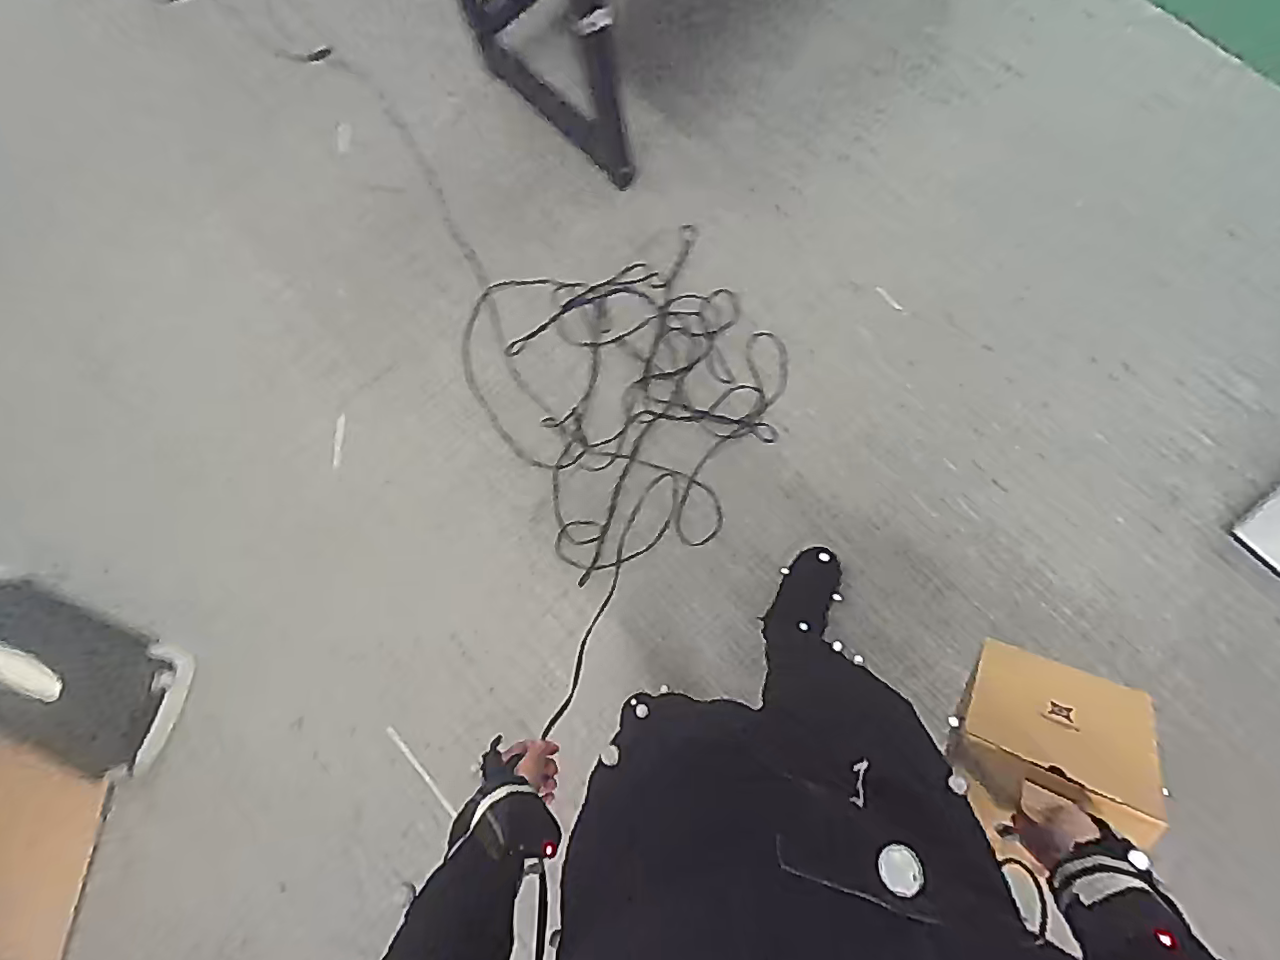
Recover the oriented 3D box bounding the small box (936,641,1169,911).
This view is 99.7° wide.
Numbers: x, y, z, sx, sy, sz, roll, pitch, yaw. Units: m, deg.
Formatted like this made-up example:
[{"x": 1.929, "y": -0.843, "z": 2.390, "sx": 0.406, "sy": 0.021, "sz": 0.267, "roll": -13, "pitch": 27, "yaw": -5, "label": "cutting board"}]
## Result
[{"x": 0.461, "y": 0.330, "z": 0.626, "sx": 0.168, "sy": 0.179, "sz": 0.176, "roll": 17, "pitch": 123, "yaw": 32, "label": "small box"}]
